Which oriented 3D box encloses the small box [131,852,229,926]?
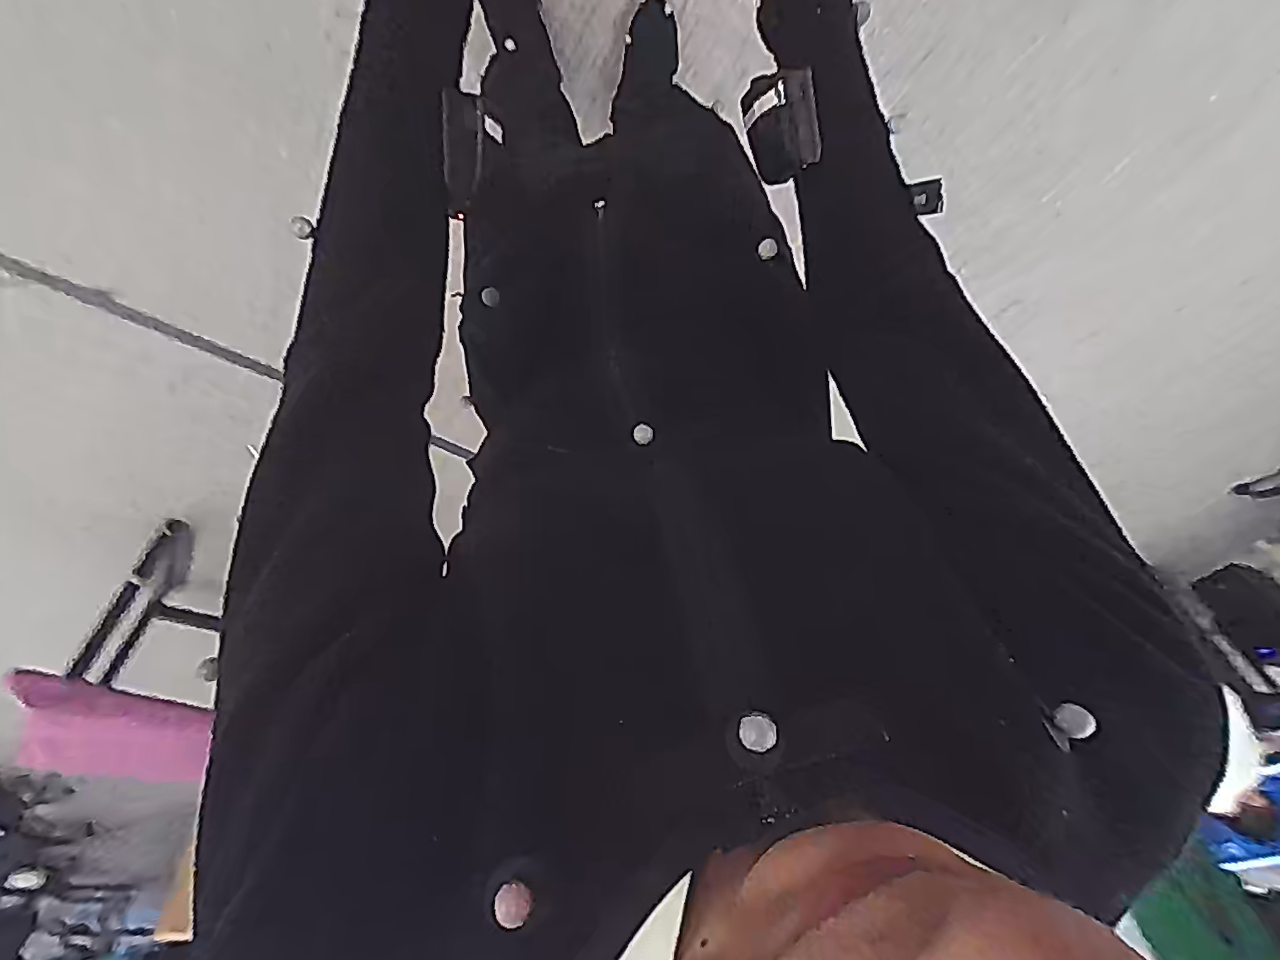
[{"bbox_3d":[-1.429,1.273,1.685,0.179,0.176,0.168,24,131,-27],"label":"small box"}]
